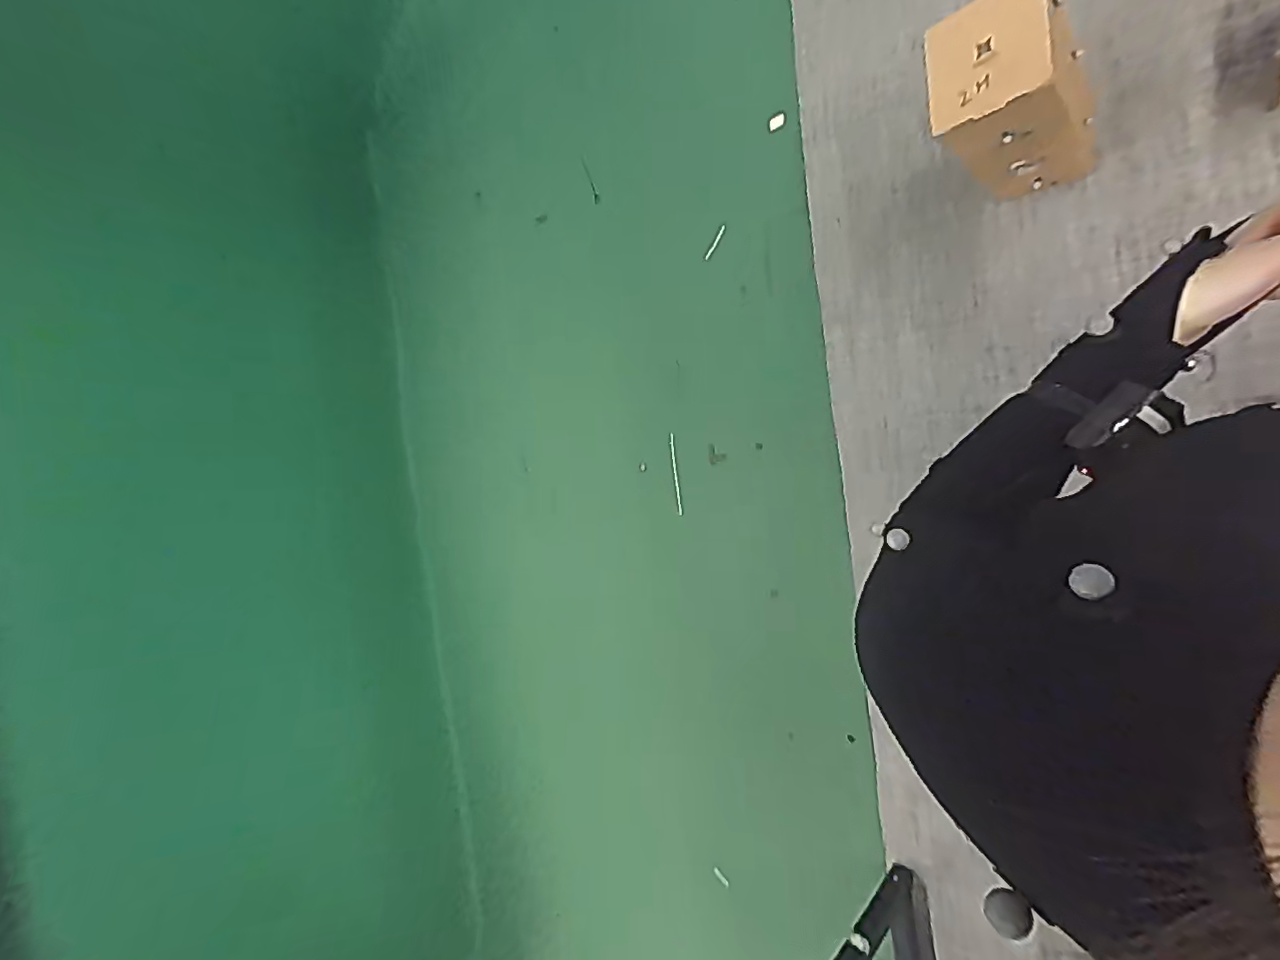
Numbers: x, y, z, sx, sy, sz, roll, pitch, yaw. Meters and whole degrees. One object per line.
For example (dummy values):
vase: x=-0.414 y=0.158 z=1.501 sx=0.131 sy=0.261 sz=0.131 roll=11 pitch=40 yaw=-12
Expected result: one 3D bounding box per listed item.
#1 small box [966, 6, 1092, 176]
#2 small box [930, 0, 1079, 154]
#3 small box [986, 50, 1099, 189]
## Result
small box: x=0.714 y=-0.700 z=0.999 sx=0.168 sy=0.176 sz=0.179 roll=-3 pitch=96 yaw=48
small box: x=0.597 y=-0.676 z=0.885 sx=0.168 sy=0.176 sz=0.179 roll=-3 pitch=95 yaw=48
small box: x=0.828 y=-0.721 z=1.112 sx=0.168 sy=0.176 sz=0.179 roll=1 pitch=99 yaw=46
